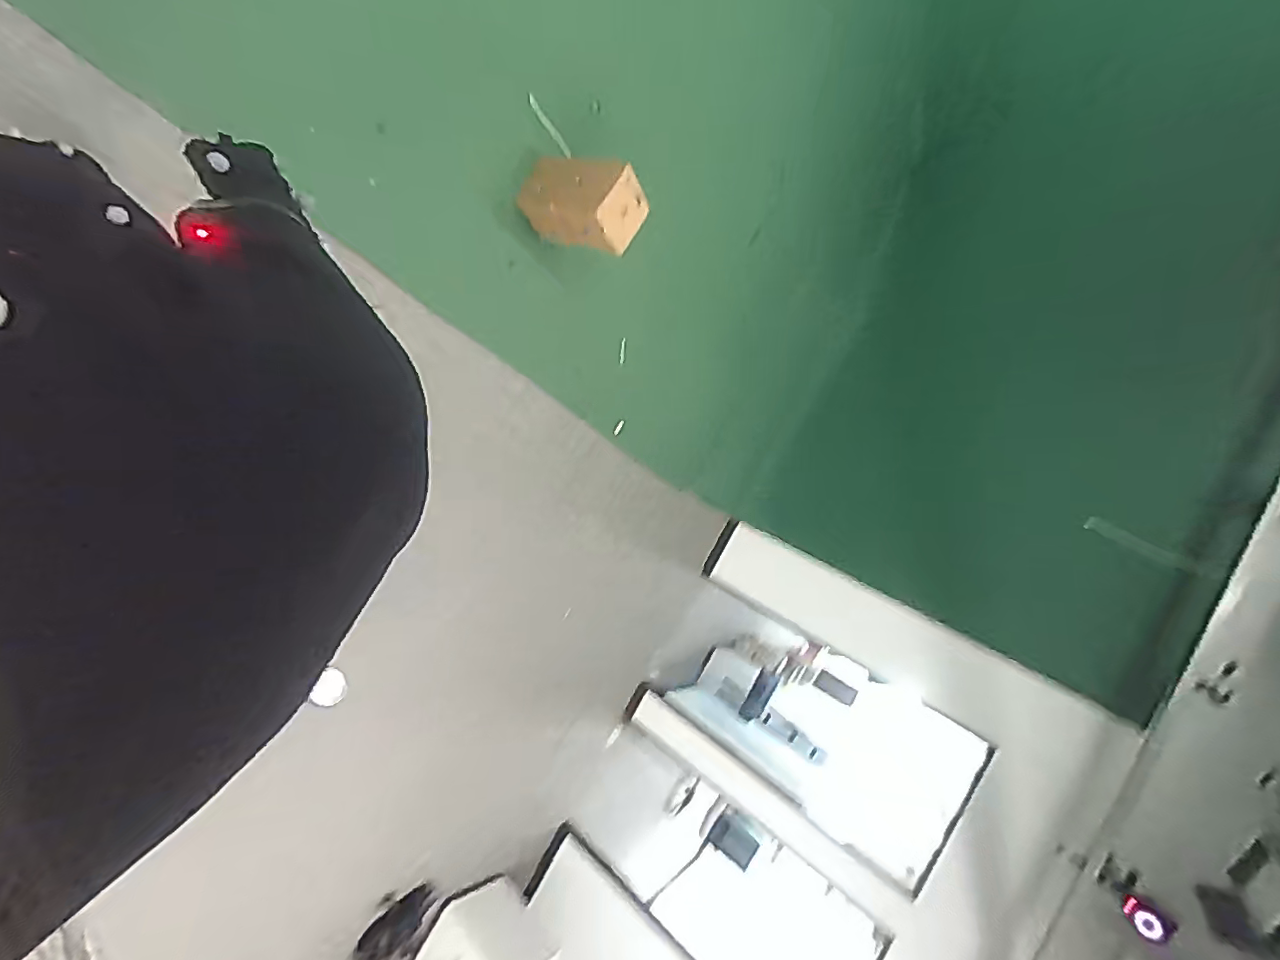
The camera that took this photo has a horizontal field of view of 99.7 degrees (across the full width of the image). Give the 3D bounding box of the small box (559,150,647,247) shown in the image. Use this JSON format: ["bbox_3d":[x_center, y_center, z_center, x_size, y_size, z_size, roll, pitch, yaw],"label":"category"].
[{"bbox_3d":[-0.115,-0.811,1.558,0.179,0.176,0.168,-57,151,-6],"label":"small box"}]

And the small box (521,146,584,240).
[{"bbox_3d":[-0.233,-0.864,1.626,0.179,0.176,0.168,-58,152,-7],"label":"small box"}]
